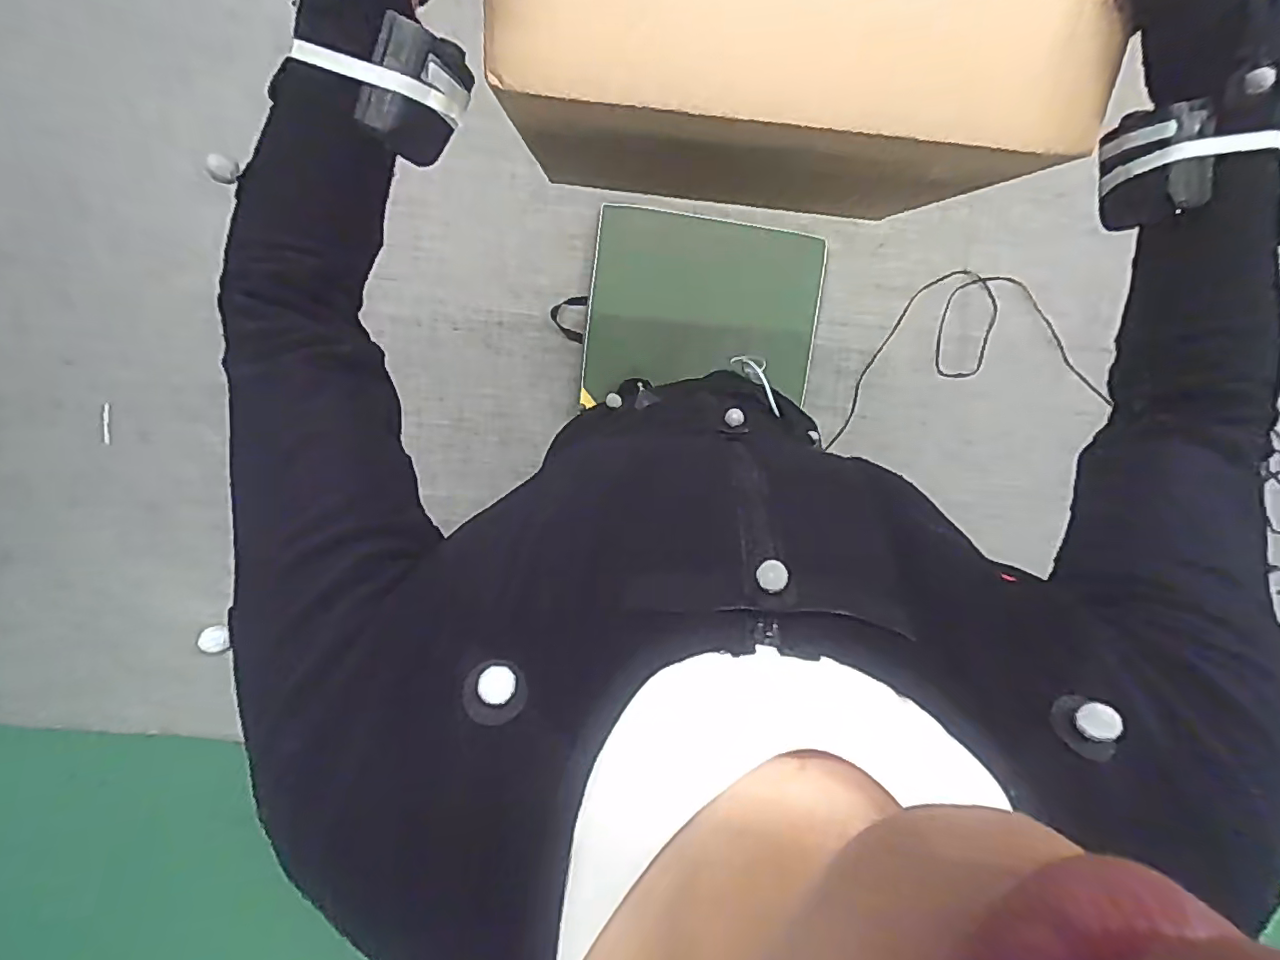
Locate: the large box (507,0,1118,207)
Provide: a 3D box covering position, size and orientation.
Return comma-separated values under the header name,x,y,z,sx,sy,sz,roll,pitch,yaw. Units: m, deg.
name,x,y,z,sx,sy,sz,roll,pitch,yaw
large box,0.112,-0.439,0.460,0.408,0.320,0.320,4,109,-4
